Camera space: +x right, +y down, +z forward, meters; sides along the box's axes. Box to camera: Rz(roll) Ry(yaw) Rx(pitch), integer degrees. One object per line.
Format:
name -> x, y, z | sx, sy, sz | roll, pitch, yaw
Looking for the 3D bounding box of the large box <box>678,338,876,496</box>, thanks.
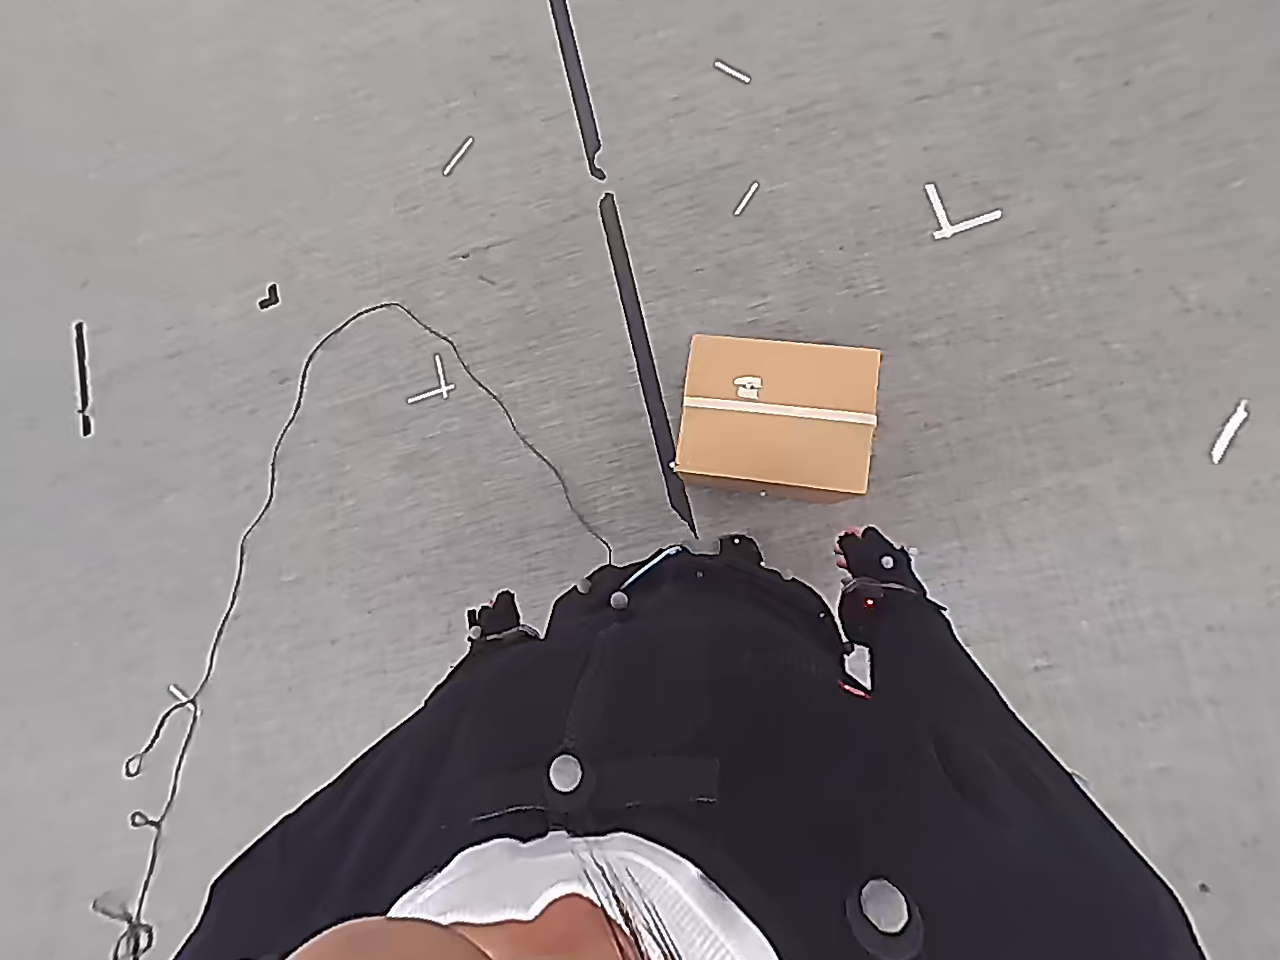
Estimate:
large box -> 0.323, -0.138, 1.324 | 0.408, 0.320, 0.320 | 6, 84, 11
